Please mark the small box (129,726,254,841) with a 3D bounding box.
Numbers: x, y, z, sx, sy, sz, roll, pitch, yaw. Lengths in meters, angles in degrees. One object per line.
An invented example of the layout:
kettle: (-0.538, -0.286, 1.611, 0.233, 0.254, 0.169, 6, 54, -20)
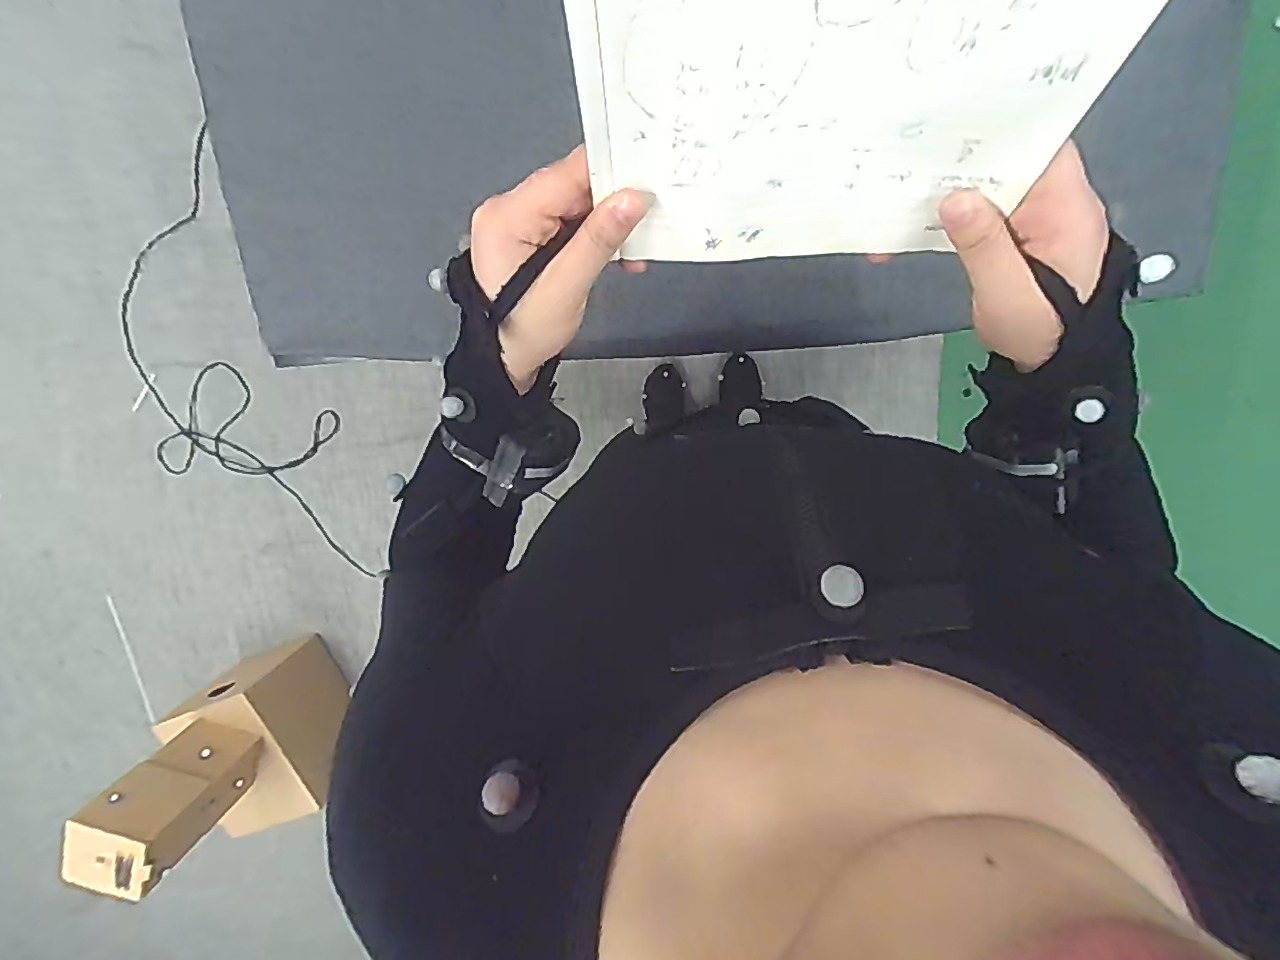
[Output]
small box: (-1.120, 0.755, 1.361, 0.179, 0.176, 0.168, 18, 103, -3)
